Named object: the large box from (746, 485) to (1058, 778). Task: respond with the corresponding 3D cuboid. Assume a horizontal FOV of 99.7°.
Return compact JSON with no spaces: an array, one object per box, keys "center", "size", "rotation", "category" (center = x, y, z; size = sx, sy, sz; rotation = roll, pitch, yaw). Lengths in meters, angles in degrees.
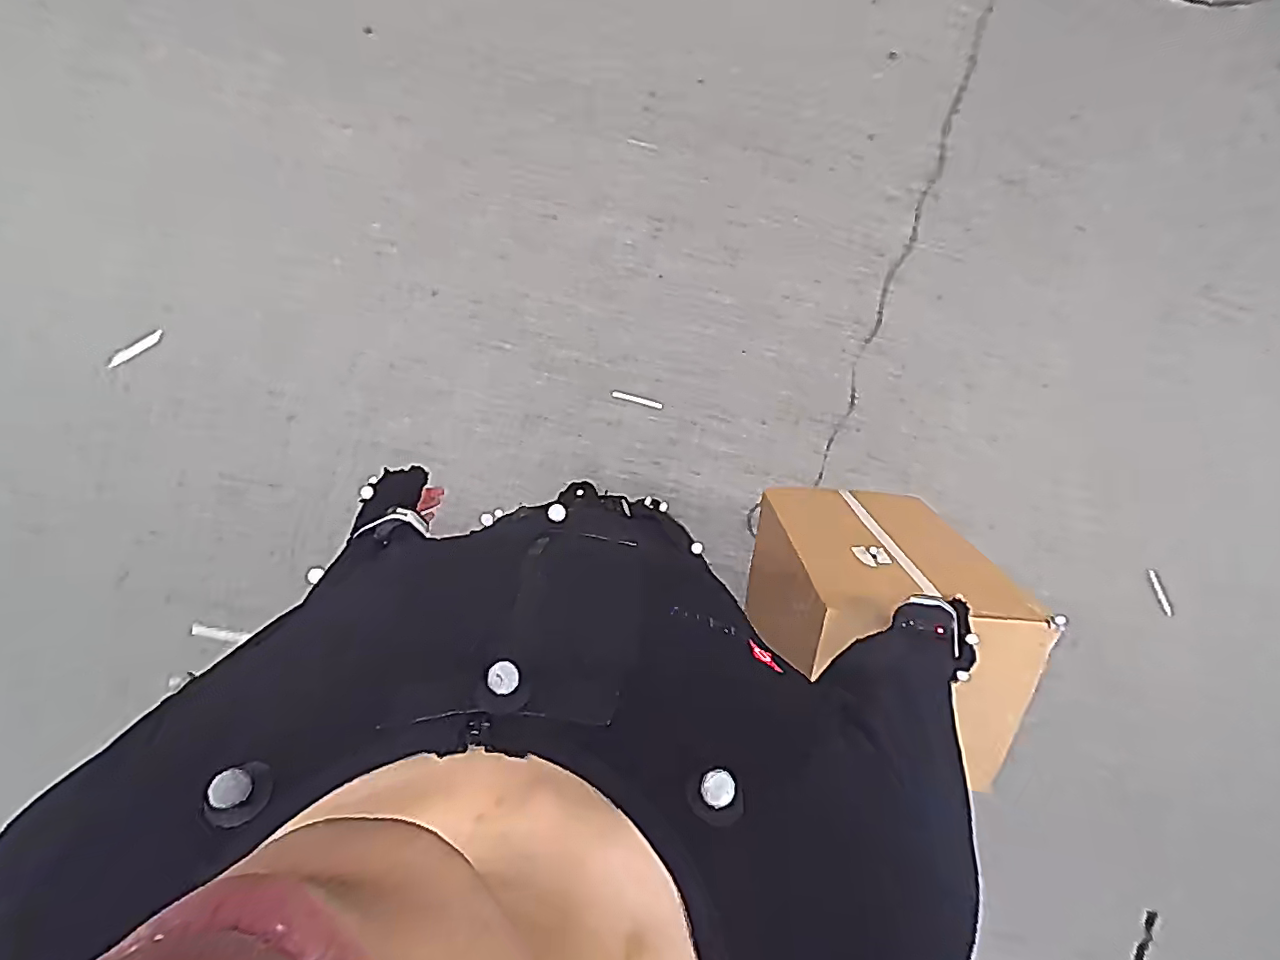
[{"center":[0.395,0.236,0.955],"size":[0.320,0.408,0.320],"rotation":[4,113,-1],"category":"large box"}]
